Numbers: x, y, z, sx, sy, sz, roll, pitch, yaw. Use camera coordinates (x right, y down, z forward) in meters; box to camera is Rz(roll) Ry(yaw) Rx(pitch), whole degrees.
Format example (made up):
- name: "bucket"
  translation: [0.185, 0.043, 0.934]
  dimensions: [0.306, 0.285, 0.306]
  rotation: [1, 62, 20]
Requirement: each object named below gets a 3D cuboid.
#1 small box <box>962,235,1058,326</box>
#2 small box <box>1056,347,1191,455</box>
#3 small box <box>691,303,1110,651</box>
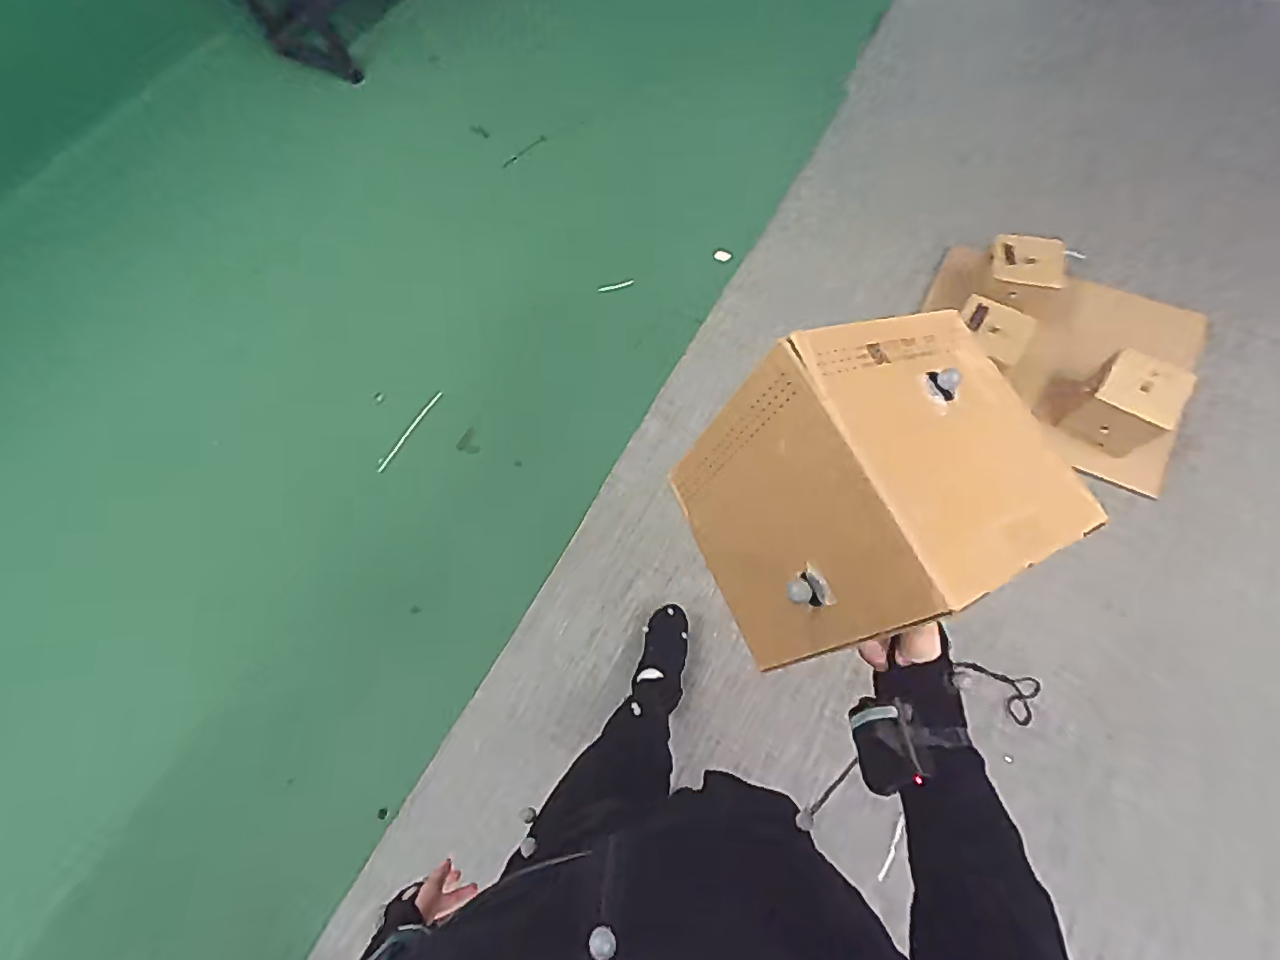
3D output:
- name: "small box"
  translation: [1.044, -0.560, 1.535]
  dimensions: [0.179, 0.176, 0.168]
  rotation: [13, 70, 11]
- name: "small box"
  translation: [1.199, -0.191, 1.358]
  dimensions: [0.168, 0.176, 0.179]
  rotation: [34, 75, 18]
- name: "small box"
  translation: [0.157, -0.001, 0.384]
  dimensions: [0.168, 0.179, 0.176]
  rotation: [-13, 69, -28]
